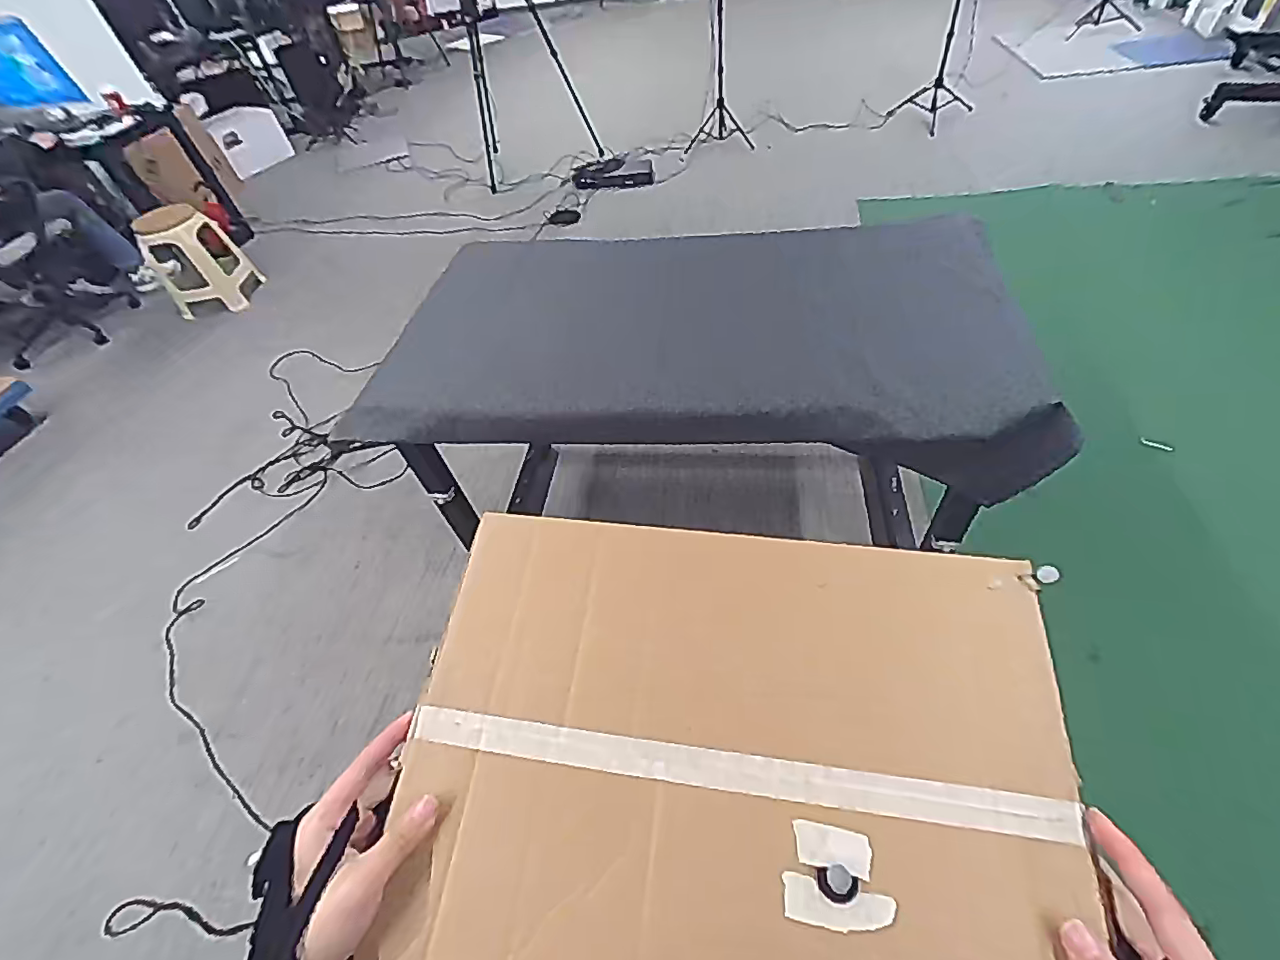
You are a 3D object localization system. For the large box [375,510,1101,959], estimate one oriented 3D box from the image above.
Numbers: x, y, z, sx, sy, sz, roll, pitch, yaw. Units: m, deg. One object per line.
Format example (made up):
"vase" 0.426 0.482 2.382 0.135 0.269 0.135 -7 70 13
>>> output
"large box" 0.071 0.243 0.480 0.408 0.320 0.320 4 62 8
